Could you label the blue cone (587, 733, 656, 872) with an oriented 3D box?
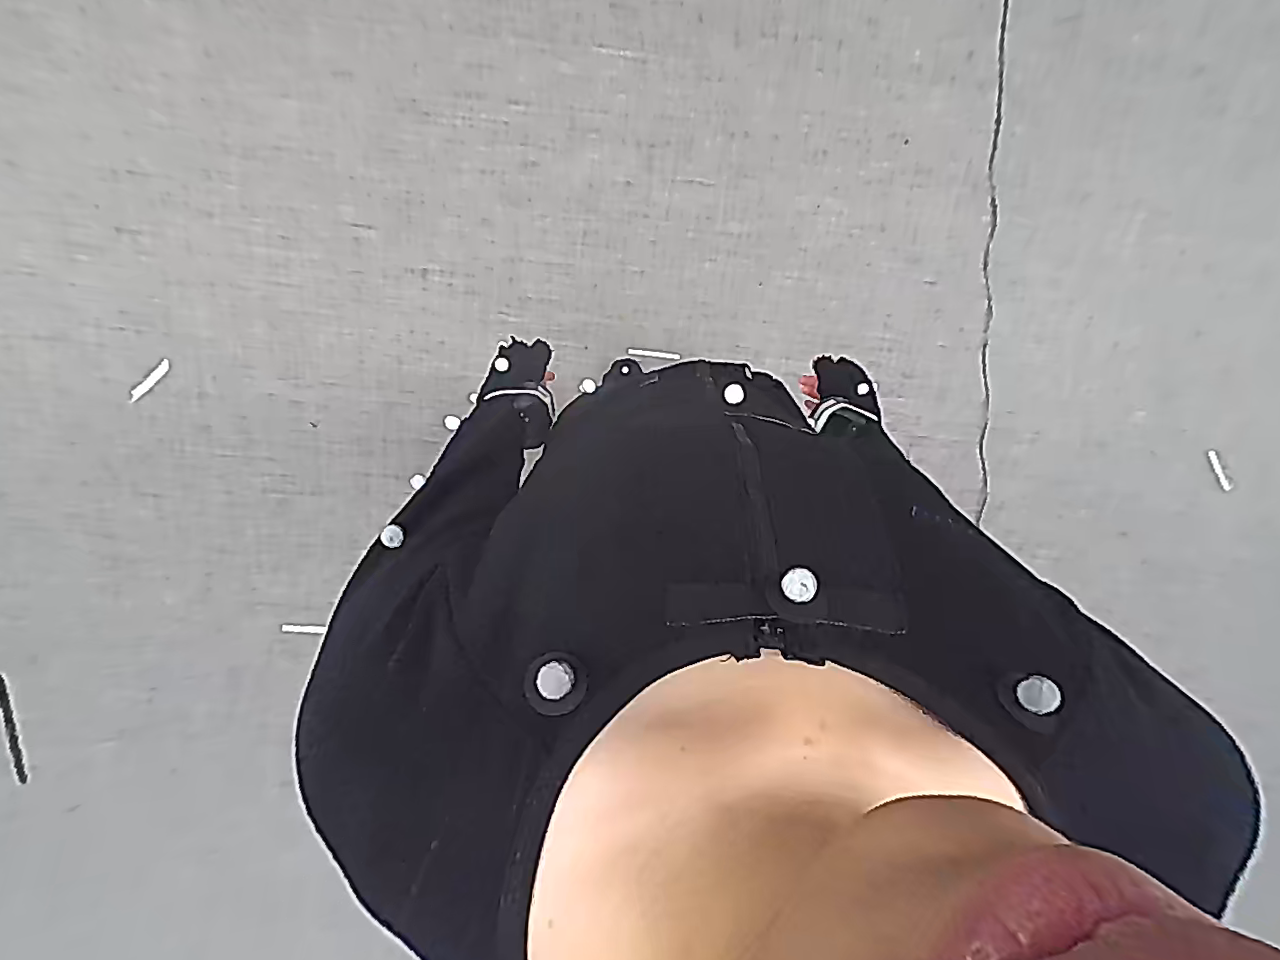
[{"bbox_3d":[-0.058,0.929,1.535,0.192,0.380,0.193,21,102,-5],"label":"blue cone"}]
